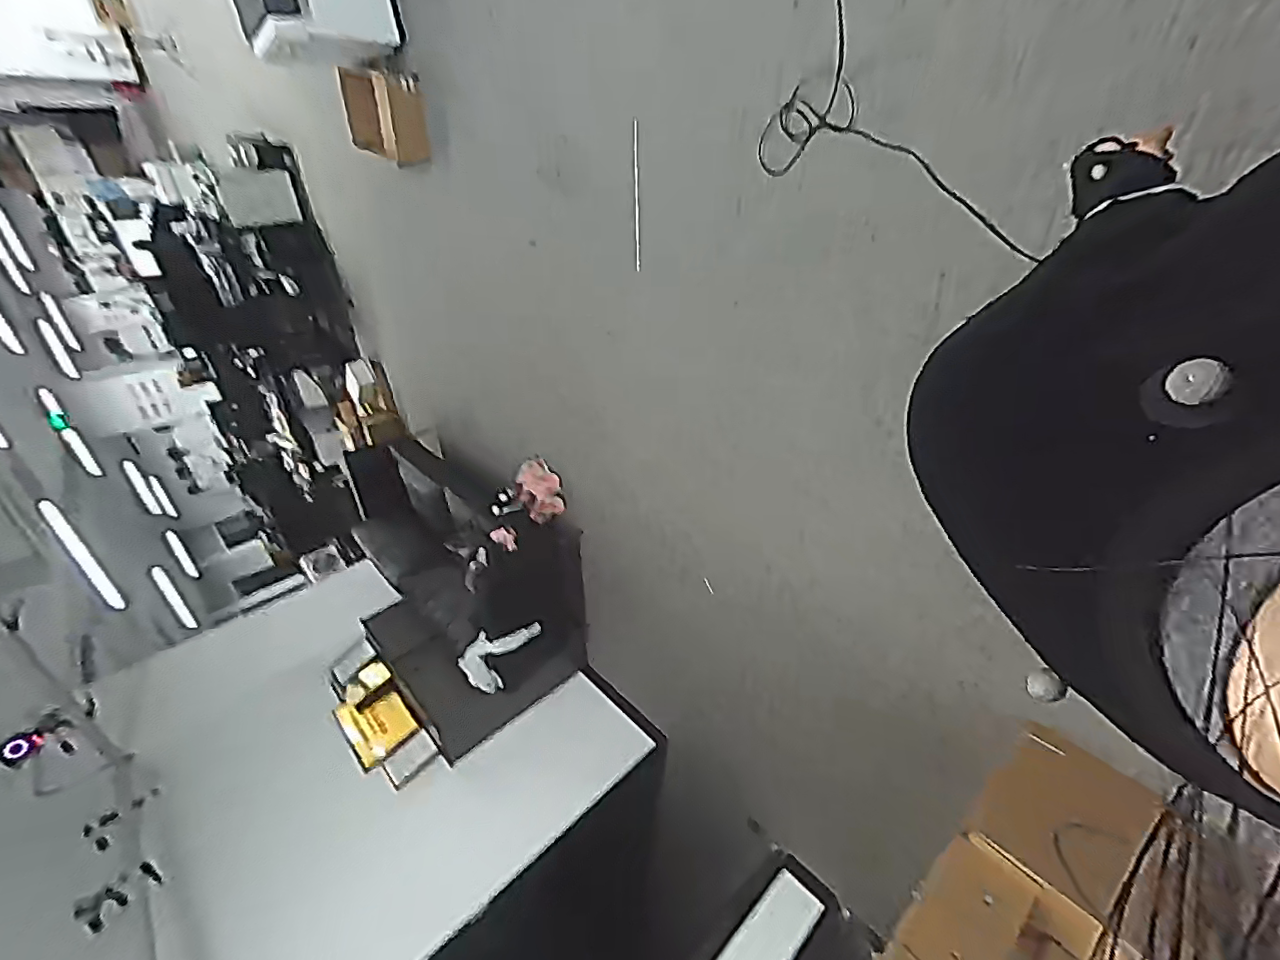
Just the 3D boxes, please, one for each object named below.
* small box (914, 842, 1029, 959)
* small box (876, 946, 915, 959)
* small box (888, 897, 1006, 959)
[{"bbox_3d":[0.813,1.050,1.329,0.179,0.176,0.168,32,132,36],"label":"small box"},{"bbox_3d":[0.564,1.157,1.147,0.179,0.176,0.168,38,136,34],"label":"small box"},{"bbox_3d":[0.690,1.107,1.238,0.179,0.176,0.168,33,134,35],"label":"small box"}]
